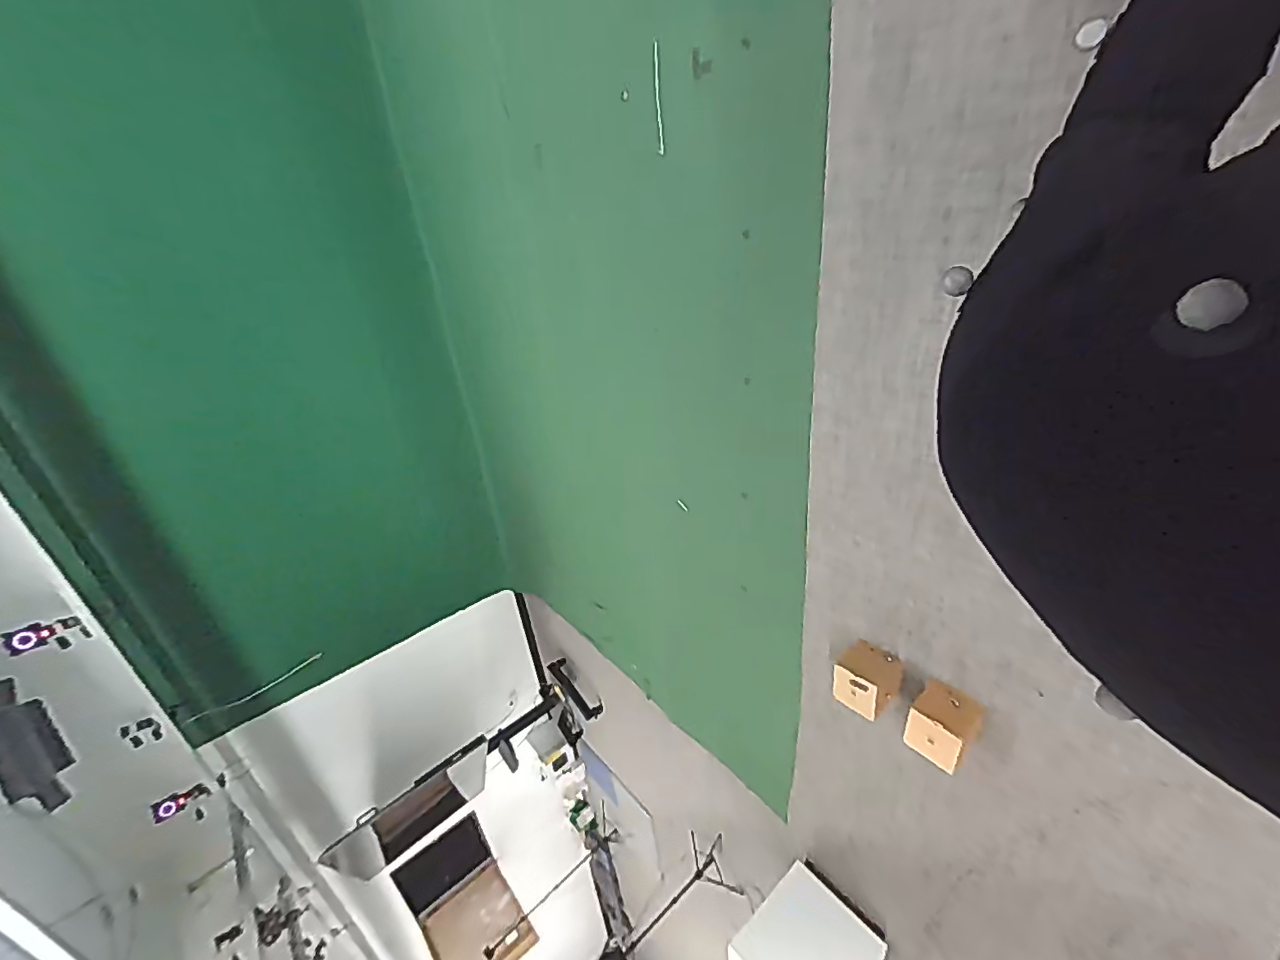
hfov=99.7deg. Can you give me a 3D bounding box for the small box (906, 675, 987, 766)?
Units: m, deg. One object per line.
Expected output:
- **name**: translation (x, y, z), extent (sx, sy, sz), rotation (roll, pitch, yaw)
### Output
- **small box**: translation (1.010, 0.787, 1.782), extent (0.168, 0.176, 0.179), rotation (28, 132, 45)

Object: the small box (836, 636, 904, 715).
- **small box**: translation (0.841, 0.705, 1.975), extent (0.168, 0.176, 0.179), rotation (24, 130, 47)
